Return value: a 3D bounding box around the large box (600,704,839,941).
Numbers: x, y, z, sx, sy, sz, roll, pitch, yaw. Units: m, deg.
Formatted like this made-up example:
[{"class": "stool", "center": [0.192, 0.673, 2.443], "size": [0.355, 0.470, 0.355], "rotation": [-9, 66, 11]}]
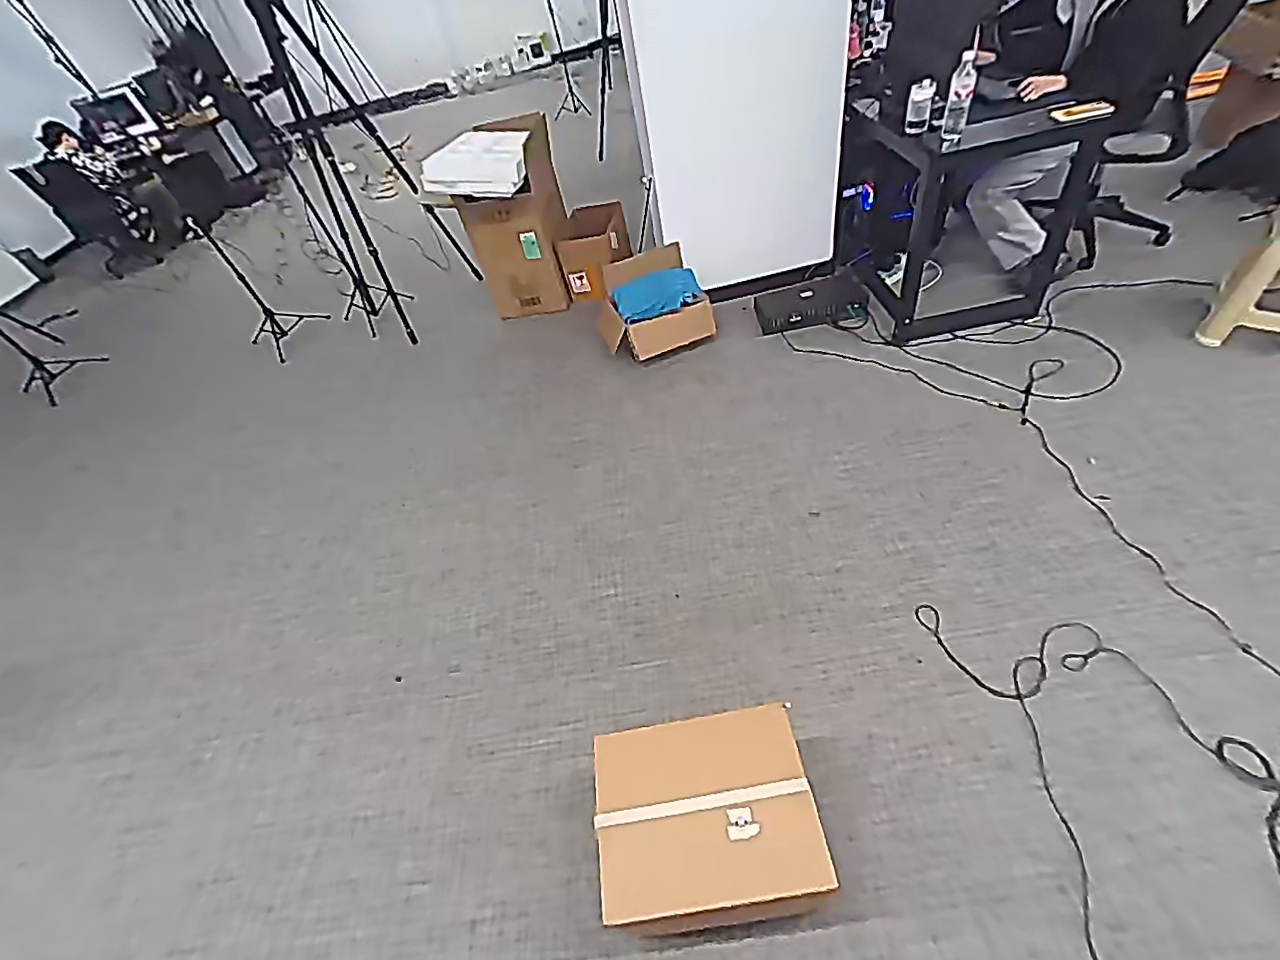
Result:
[{"class": "large box", "center": [0.151, 0.713, 1.121], "size": [0.408, 0.320, 0.320], "rotation": [-12, 46, 3]}]
